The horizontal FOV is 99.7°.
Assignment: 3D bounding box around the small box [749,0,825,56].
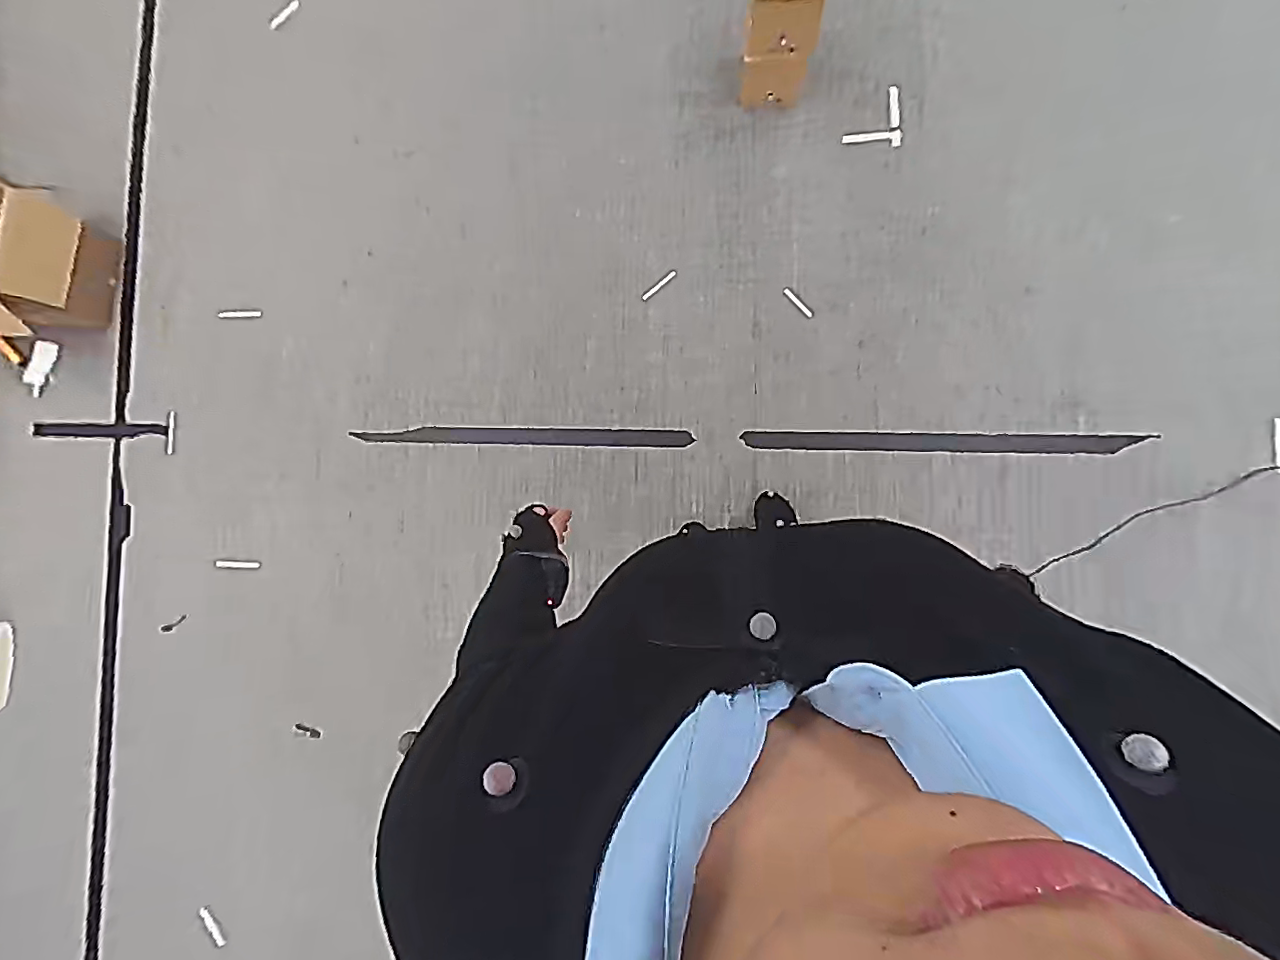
[{"bbox_3d":[0.358,-1.183,1.314,0.168,0.176,0.179,5,88,9],"label":"small box"}]
